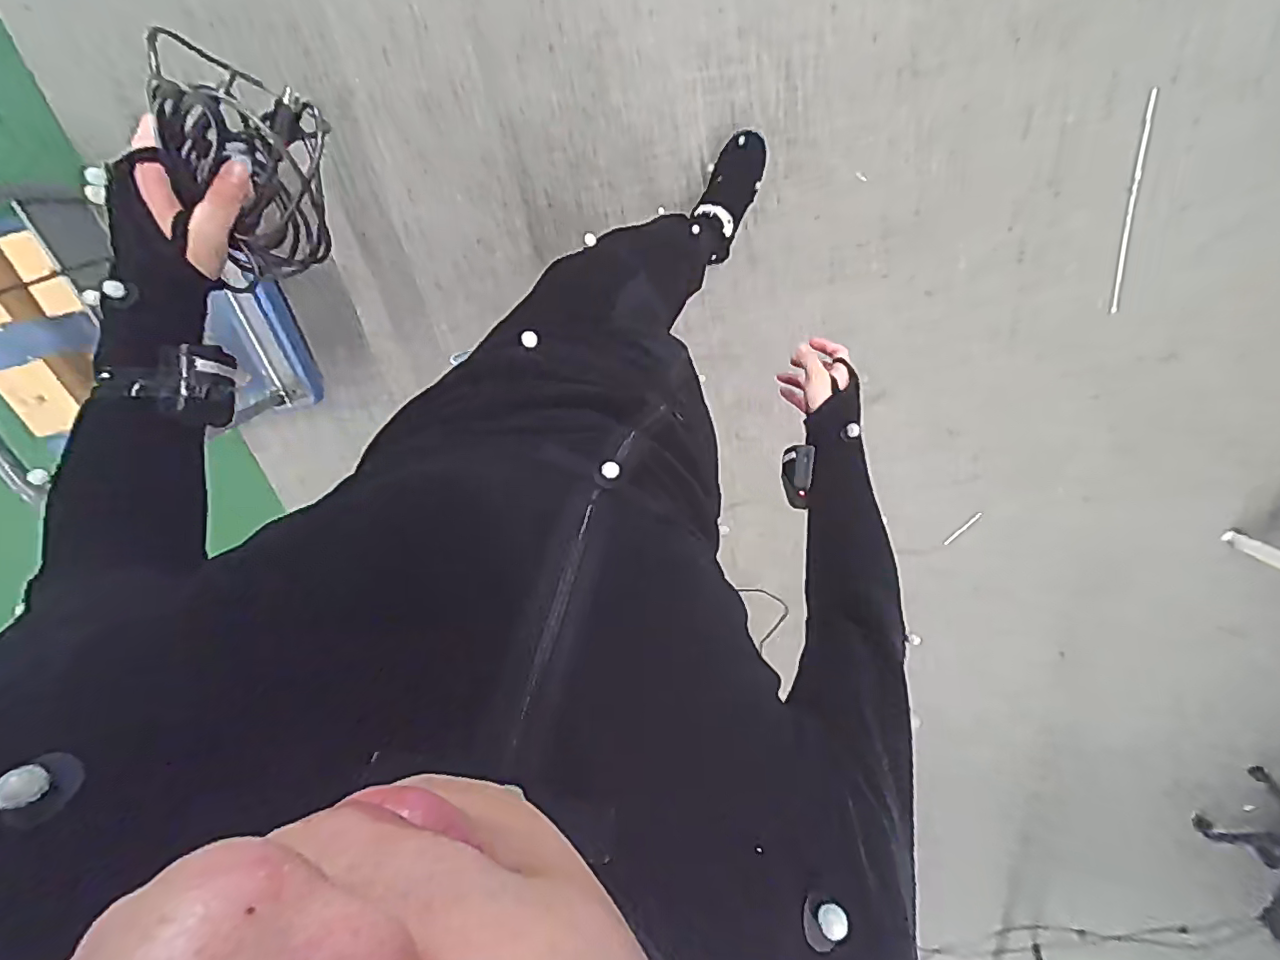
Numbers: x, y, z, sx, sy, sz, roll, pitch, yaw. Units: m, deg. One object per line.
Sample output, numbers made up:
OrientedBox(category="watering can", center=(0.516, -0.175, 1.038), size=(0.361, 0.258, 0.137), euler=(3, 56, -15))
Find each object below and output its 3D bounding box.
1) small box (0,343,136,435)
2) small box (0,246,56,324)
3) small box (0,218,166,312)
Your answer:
OrientedBox(category="small box", center=(-1.456, -0.238, 1.380), size=(0.179, 0.176, 0.168), euler=(-12, 116, 10))
OrientedBox(category="small box", center=(-1.519, -0.460, 1.266), size=(0.179, 0.176, 0.168), euler=(-11, 117, 8))
OrientedBox(category="small box", center=(-1.258, -0.493, 1.233), size=(0.179, 0.176, 0.168), euler=(-8, 117, 7))
